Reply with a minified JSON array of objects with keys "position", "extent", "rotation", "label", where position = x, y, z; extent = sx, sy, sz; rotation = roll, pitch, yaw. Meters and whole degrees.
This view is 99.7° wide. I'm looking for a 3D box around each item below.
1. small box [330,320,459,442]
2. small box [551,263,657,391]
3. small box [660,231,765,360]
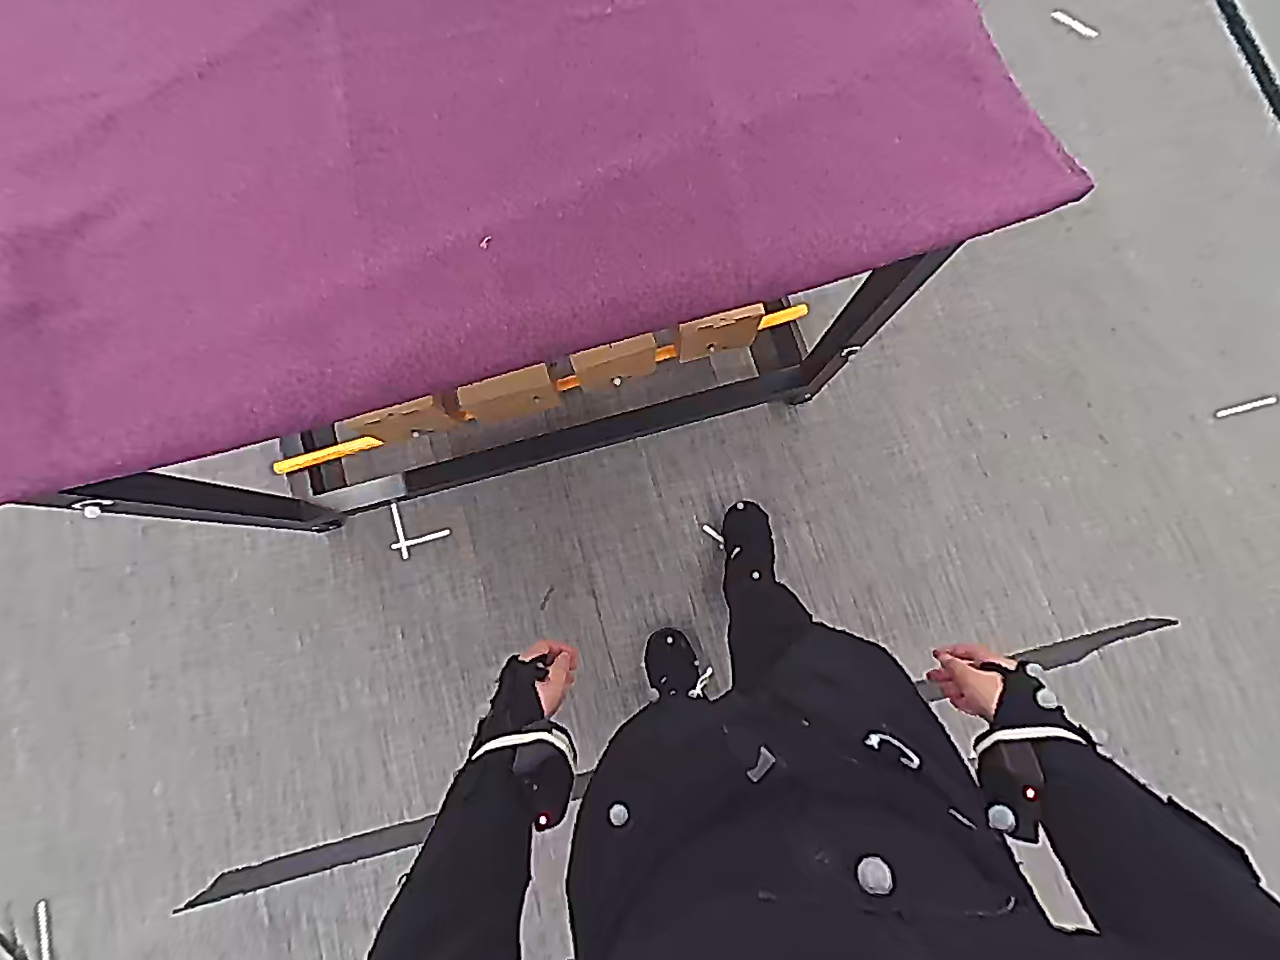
[{"position":[-0.483,-0.190,1.085],"extent":[0.168,0.176,0.179],"rotation":[-15,84,-2],"label":"small box"},{"position":[-0.071,-0.303,1.102],"extent":[0.168,0.176,0.179],"rotation":[-17,85,-1],"label":"small box"},{"position":[0.139,-0.370,1.108],"extent":[0.168,0.176,0.179],"rotation":[-14,83,0],"label":"small box"}]
